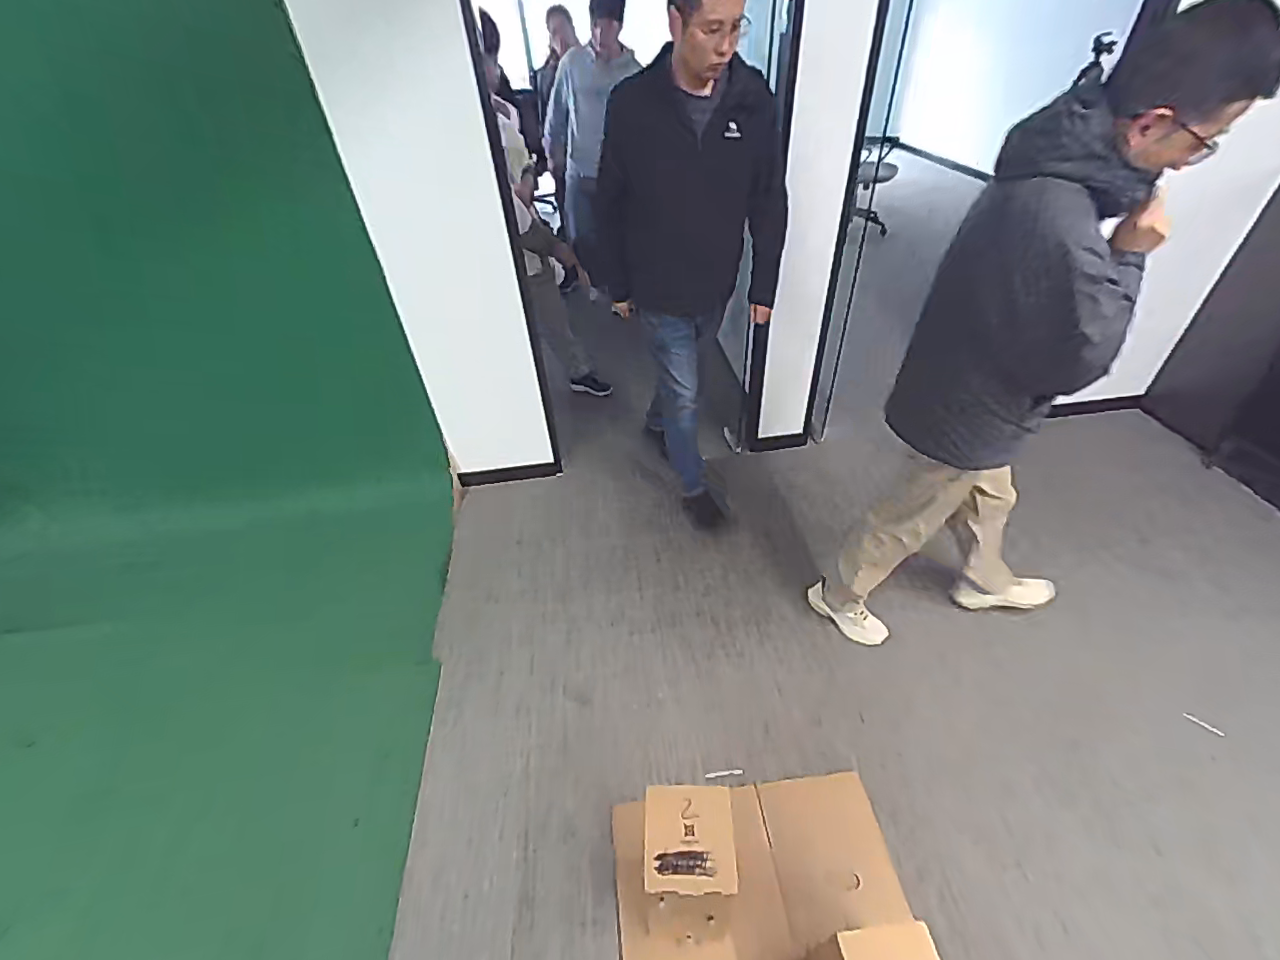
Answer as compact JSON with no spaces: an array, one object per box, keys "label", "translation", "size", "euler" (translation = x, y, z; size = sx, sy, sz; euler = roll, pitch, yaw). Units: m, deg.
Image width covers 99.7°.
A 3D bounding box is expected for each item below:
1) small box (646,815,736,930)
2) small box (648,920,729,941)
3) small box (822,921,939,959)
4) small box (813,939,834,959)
[{"label":"small box","translation":[0.104,0.841,1.158],"size":[0.179,0.176,0.168],"euler":[-1,40,3]},{"label":"small box","translation":[0.109,0.961,1.271],"size":[0.179,0.176,0.168],"euler":[-1,41,3]},{"label":"small box","translation":[0.462,0.953,1.011],"size":[0.179,0.176,0.168],"euler":[-7,42,-2]},{"label":"small box","translation":[0.470,1.069,1.123],"size":[0.179,0.176,0.168],"euler":[-6,41,-2]}]
